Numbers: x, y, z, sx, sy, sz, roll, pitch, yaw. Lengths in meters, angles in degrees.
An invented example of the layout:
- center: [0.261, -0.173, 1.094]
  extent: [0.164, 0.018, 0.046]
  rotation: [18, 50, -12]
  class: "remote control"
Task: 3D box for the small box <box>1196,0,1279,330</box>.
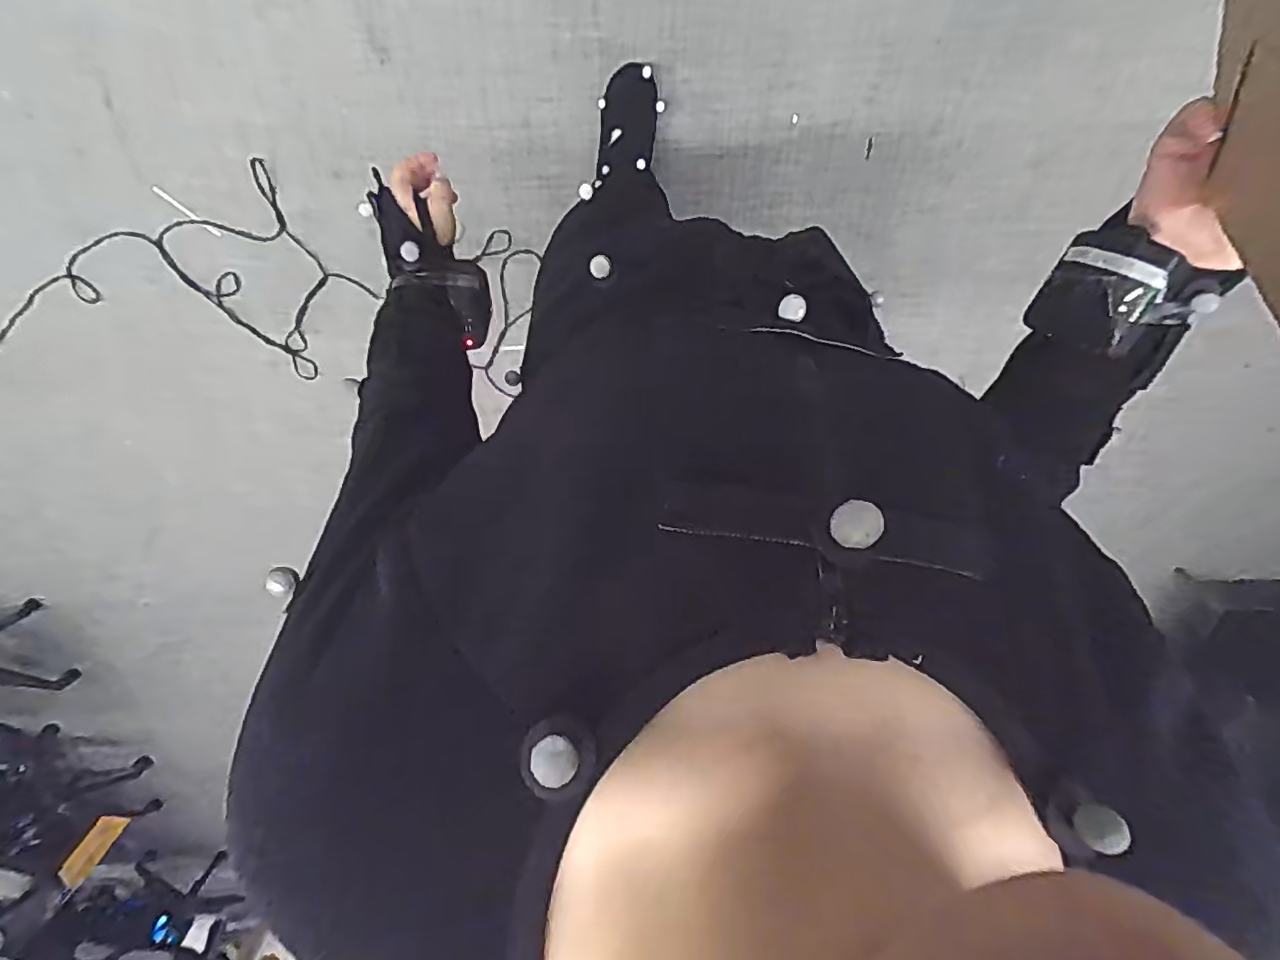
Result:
- center: [0.316, -0.175, 0.172]
  extent: [0.176, 0.168, 0.179]
  rotation: [-4, 133, 38]
  class: "small box"
